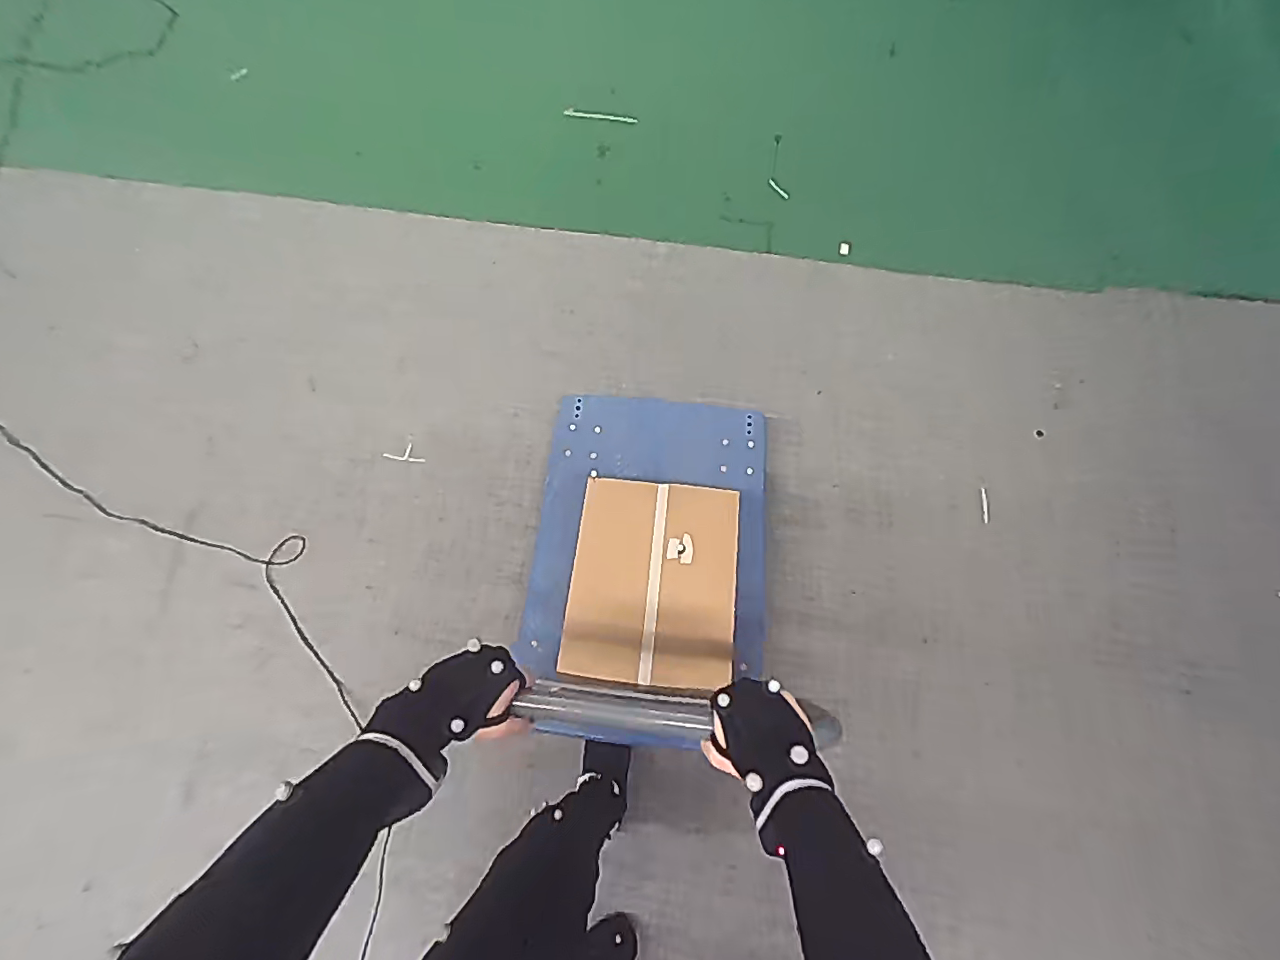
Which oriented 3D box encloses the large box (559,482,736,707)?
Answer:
[{"bbox_3d":[0.027,0.259,1.169,0.320,0.320,0.408,6,66,2],"label":"large box"}]
